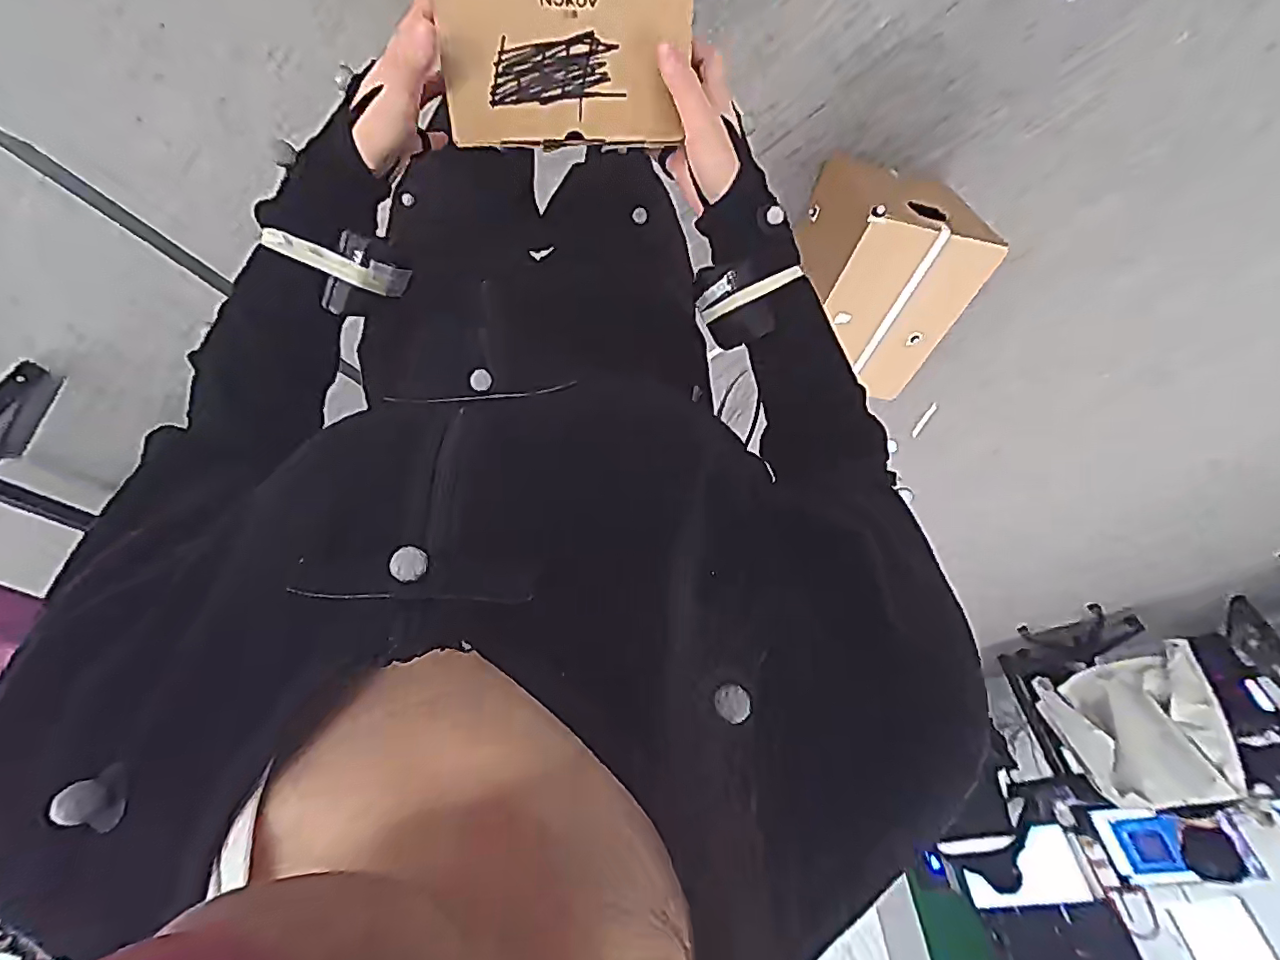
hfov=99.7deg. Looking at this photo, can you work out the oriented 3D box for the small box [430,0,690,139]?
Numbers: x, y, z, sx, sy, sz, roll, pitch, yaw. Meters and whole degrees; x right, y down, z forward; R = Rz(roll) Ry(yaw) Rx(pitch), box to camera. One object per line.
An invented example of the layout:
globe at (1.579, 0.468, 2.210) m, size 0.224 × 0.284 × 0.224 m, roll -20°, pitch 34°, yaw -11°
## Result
small box at (-0.061, -0.358, 0.392) m, size 0.168 × 0.176 × 0.179 m, roll -6°, pitch 126°, yaw -10°
